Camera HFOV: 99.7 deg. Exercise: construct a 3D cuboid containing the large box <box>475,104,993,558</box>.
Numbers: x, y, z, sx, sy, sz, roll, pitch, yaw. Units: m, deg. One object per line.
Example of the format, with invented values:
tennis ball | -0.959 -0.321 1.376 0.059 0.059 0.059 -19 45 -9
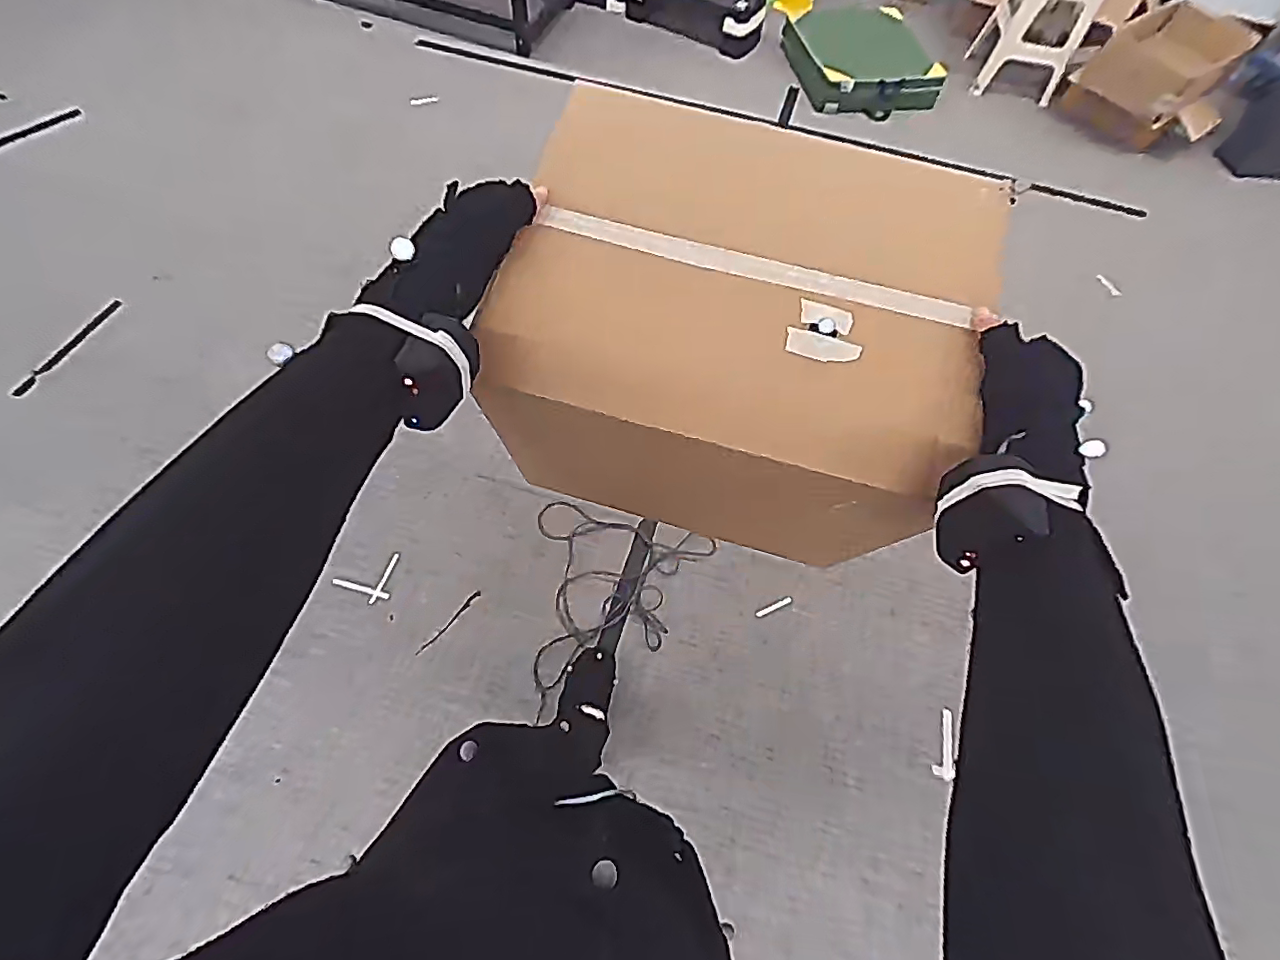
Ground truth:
large box | 0.089 -0.129 0.607 0.408 0.320 0.320 16 75 3
